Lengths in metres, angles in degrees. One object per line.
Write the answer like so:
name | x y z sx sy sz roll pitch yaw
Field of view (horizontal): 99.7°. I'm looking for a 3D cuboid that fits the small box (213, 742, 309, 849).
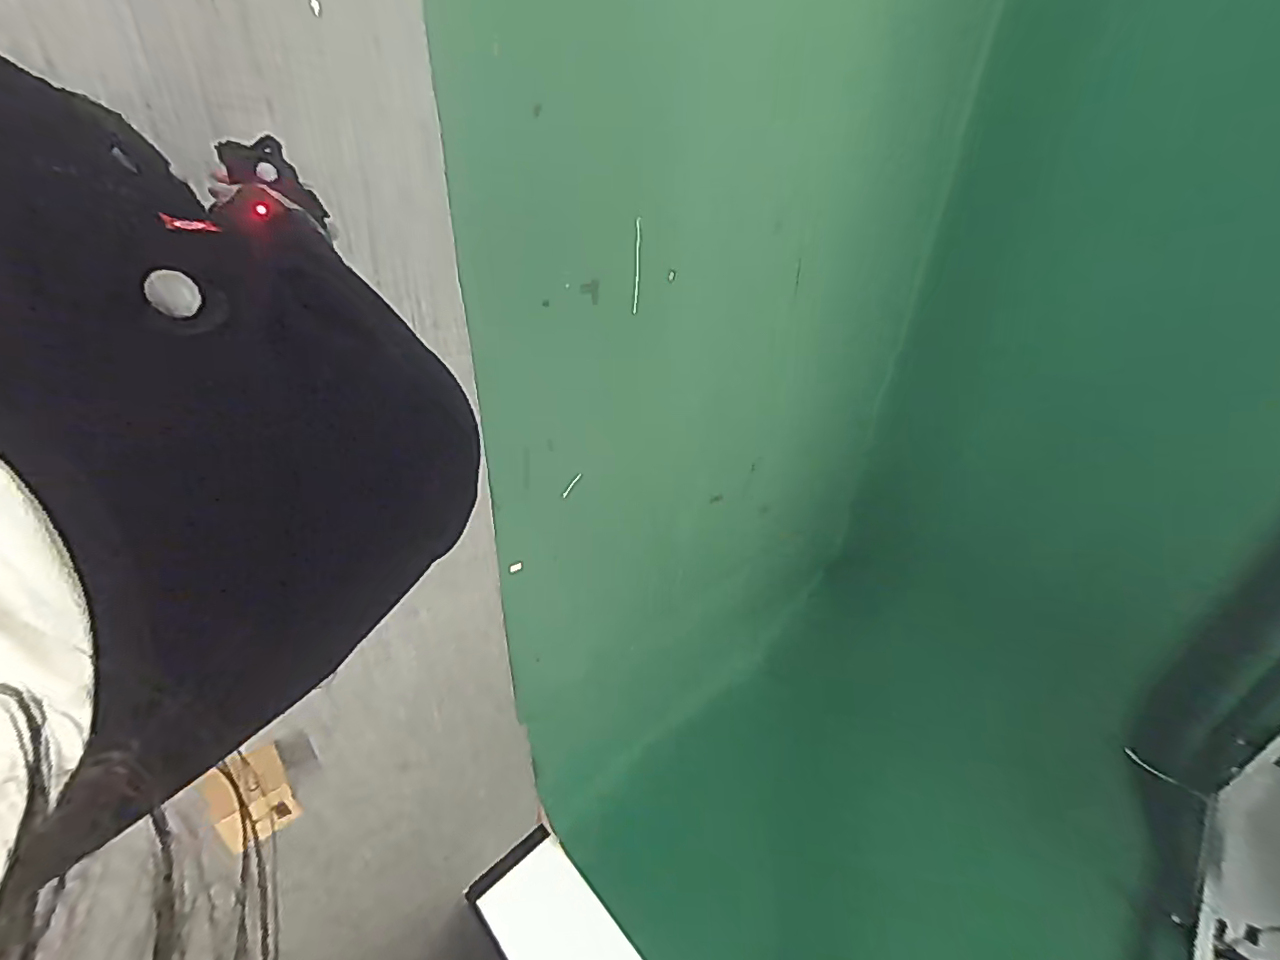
small box | -1.116 0.920 1.594 0.179 0.176 0.168 -24 129 -37
